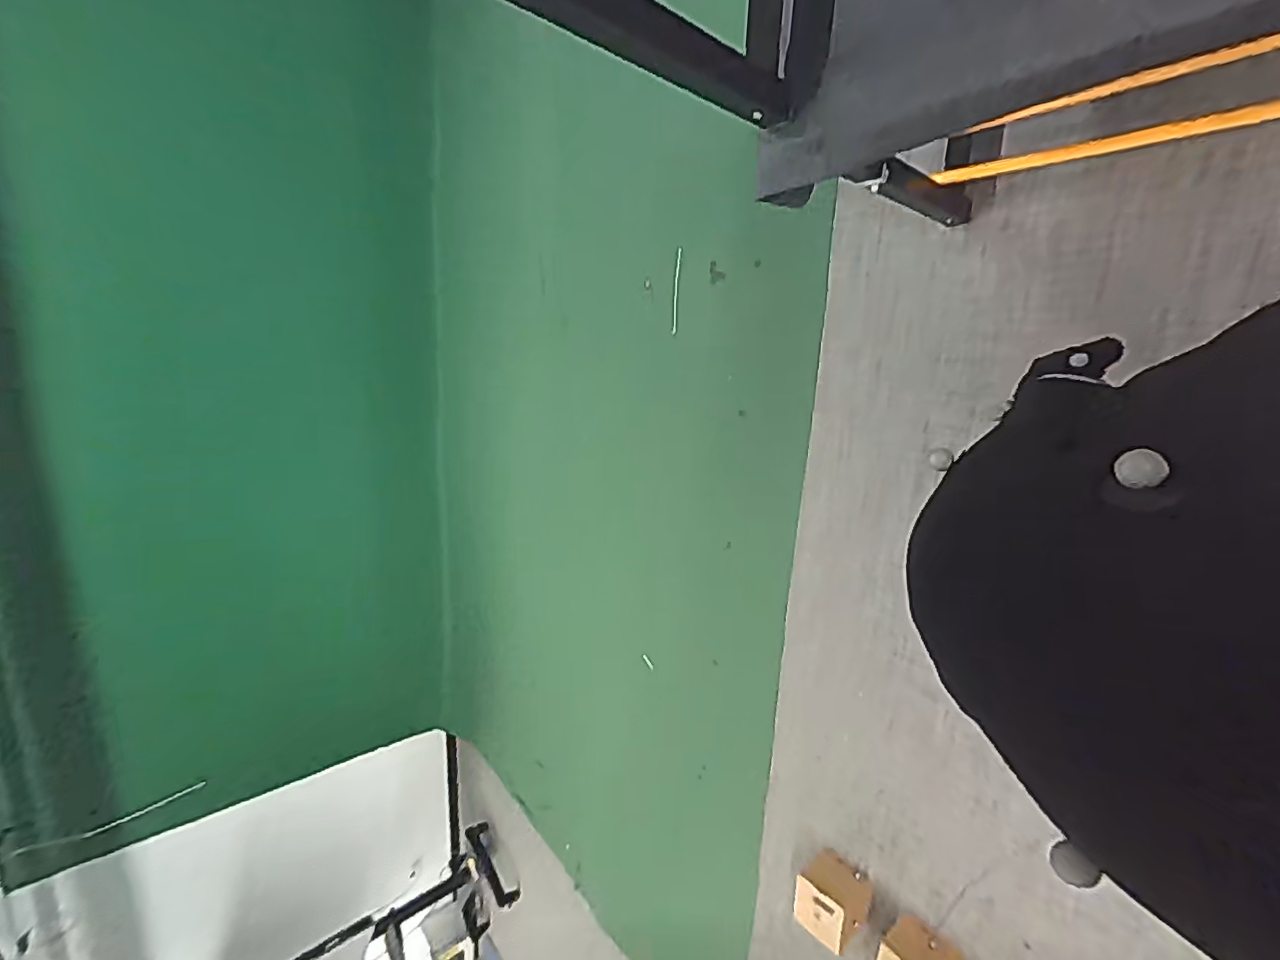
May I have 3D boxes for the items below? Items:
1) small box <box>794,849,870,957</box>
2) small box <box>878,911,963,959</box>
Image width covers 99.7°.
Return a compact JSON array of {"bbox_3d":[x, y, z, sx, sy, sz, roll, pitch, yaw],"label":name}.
[{"bbox_3d":[0.616,1.340,1.729,0.168,0.176,0.179,15,107,49],"label":"small box"},{"bbox_3d":[0.788,1.394,1.529,0.168,0.176,0.179,19,110,48],"label":"small box"}]
